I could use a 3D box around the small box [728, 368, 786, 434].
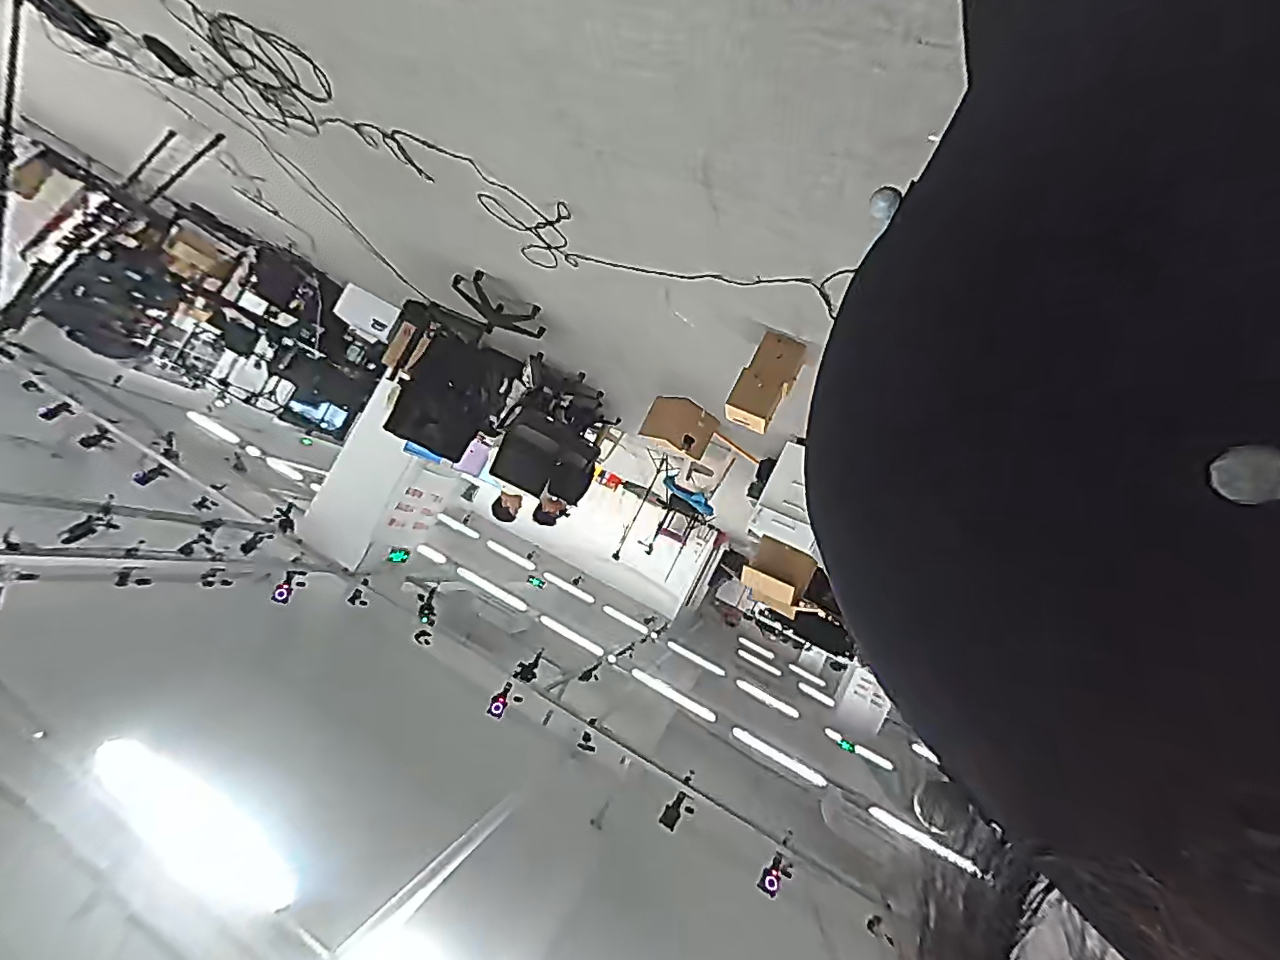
[{"bbox_3d":[0.458,-0.309,2.114,0.168,0.176,0.179,25,174,15],"label":"small box"}]

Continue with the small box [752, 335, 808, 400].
[{"bbox_3d":[0.548,-0.446,2.129,0.168,0.176,0.179,26,175,17],"label":"small box"}]
